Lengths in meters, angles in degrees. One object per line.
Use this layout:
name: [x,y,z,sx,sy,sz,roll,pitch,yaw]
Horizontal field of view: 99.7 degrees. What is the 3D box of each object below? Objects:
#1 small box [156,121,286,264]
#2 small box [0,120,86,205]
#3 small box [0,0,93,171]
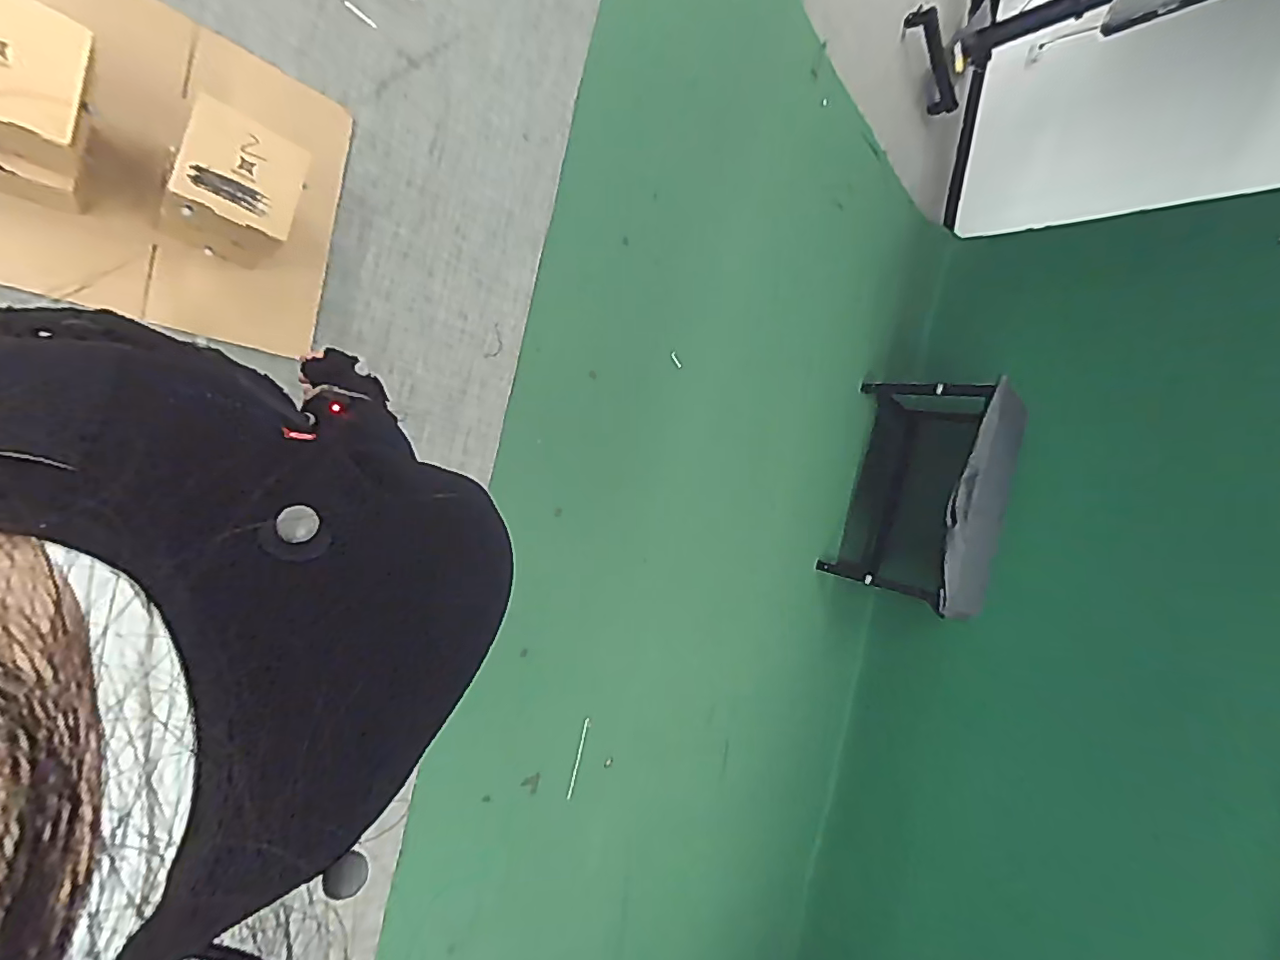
small box: [-0.842,-0.560,1.082,0.168,0.176,0.179,17,86,-44]
small box: [-1.037,-0.581,0.885,0.168,0.176,0.179,8,92,-45]
small box: [-0.915,-0.586,0.772,0.168,0.176,0.179,12,89,-45]
